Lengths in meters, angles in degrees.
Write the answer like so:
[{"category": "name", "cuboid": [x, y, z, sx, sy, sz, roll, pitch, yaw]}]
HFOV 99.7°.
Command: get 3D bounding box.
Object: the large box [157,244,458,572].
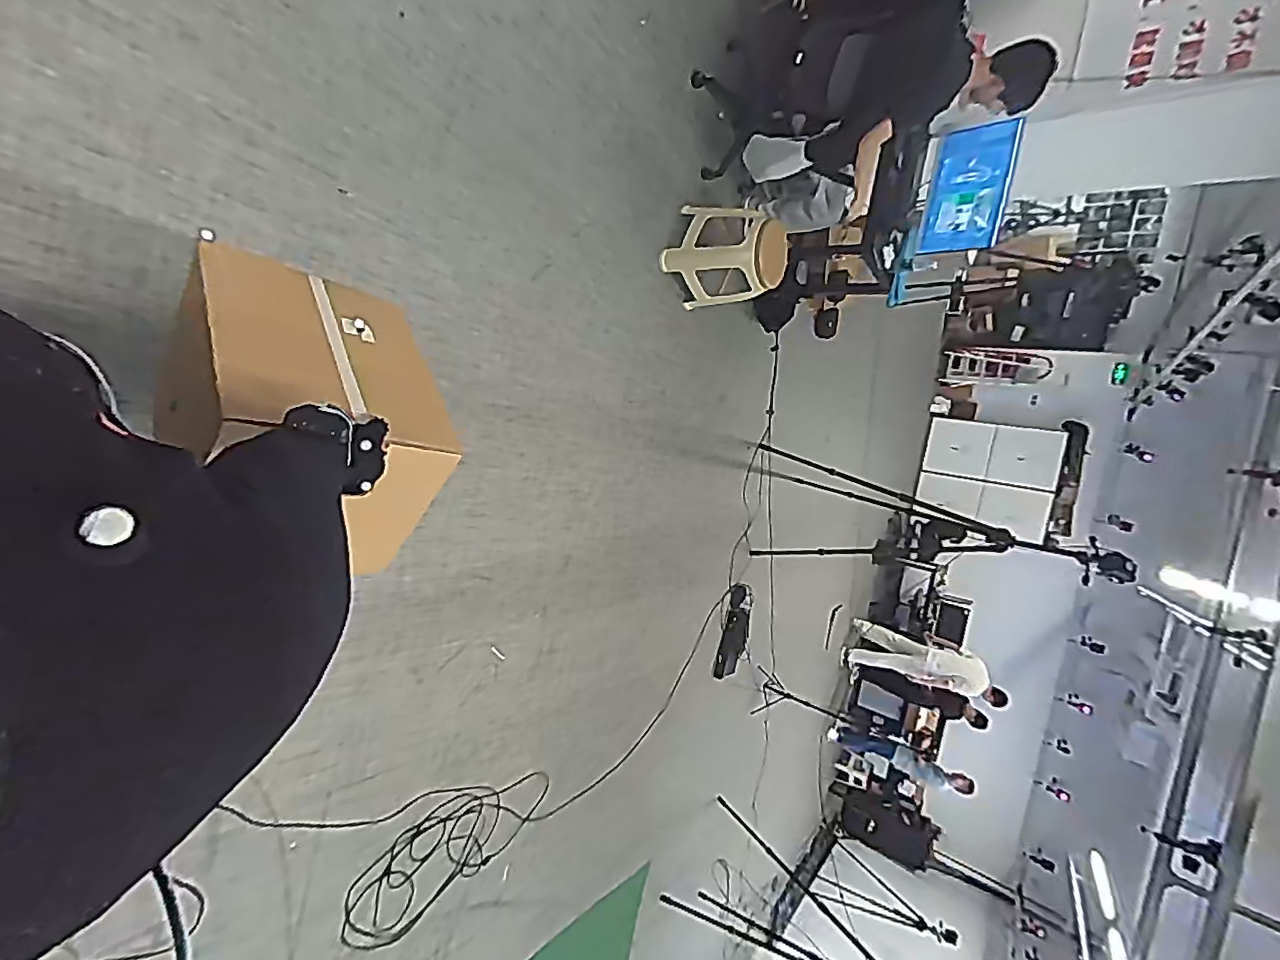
[{"category": "large box", "cuboid": [-0.568, -0.100, 0.904, 0.320, 0.408, 0.320, 10, 130, -50]}]
